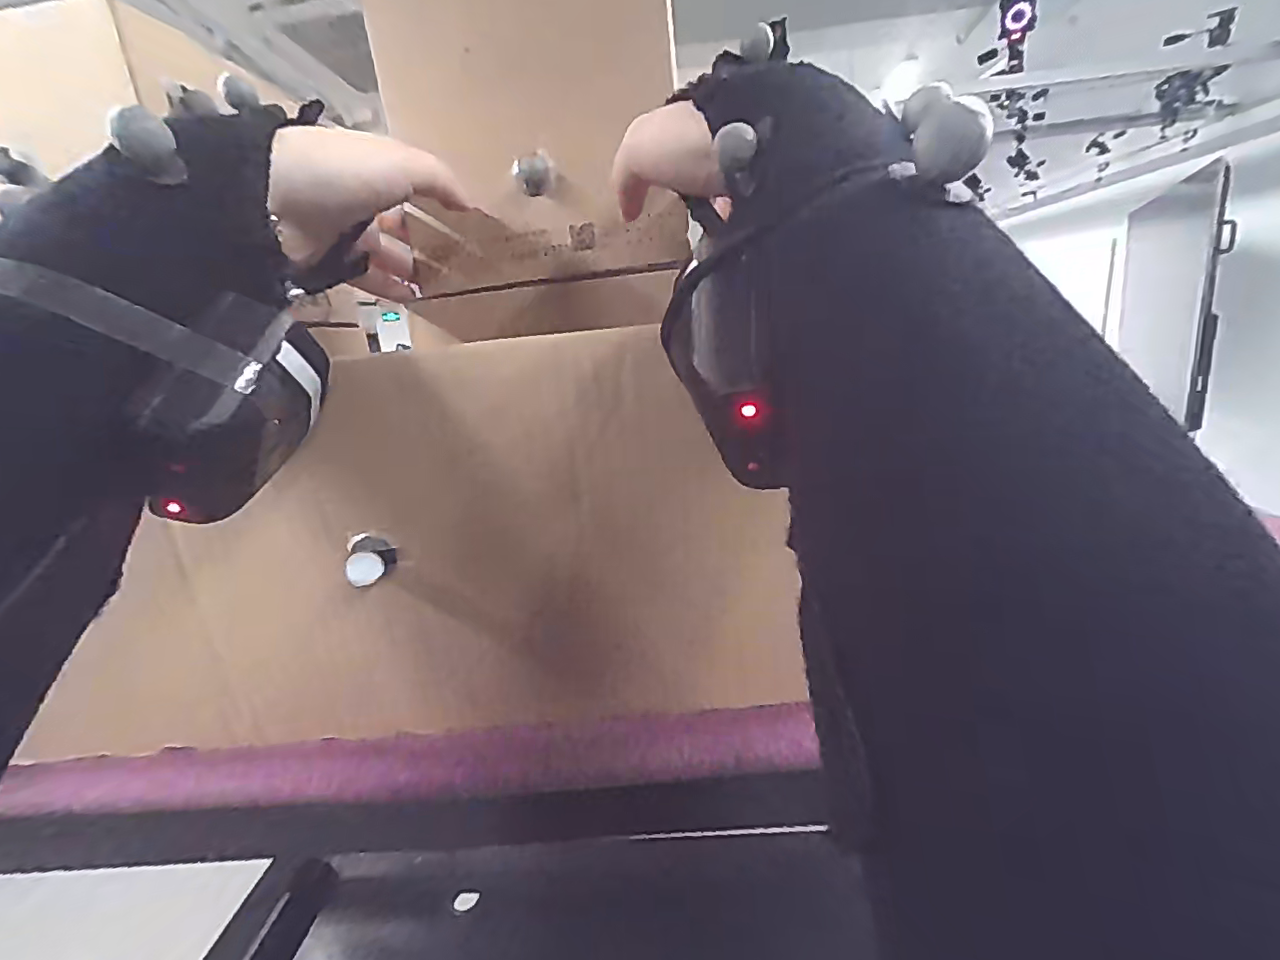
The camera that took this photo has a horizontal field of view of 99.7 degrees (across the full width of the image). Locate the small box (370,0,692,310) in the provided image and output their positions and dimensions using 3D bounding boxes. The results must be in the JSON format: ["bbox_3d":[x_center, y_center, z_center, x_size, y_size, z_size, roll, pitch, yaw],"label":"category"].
[{"bbox_3d":[-0.054,-0.217,0.383,0.168,0.176,0.179,-6,15,6],"label":"small box"}]
